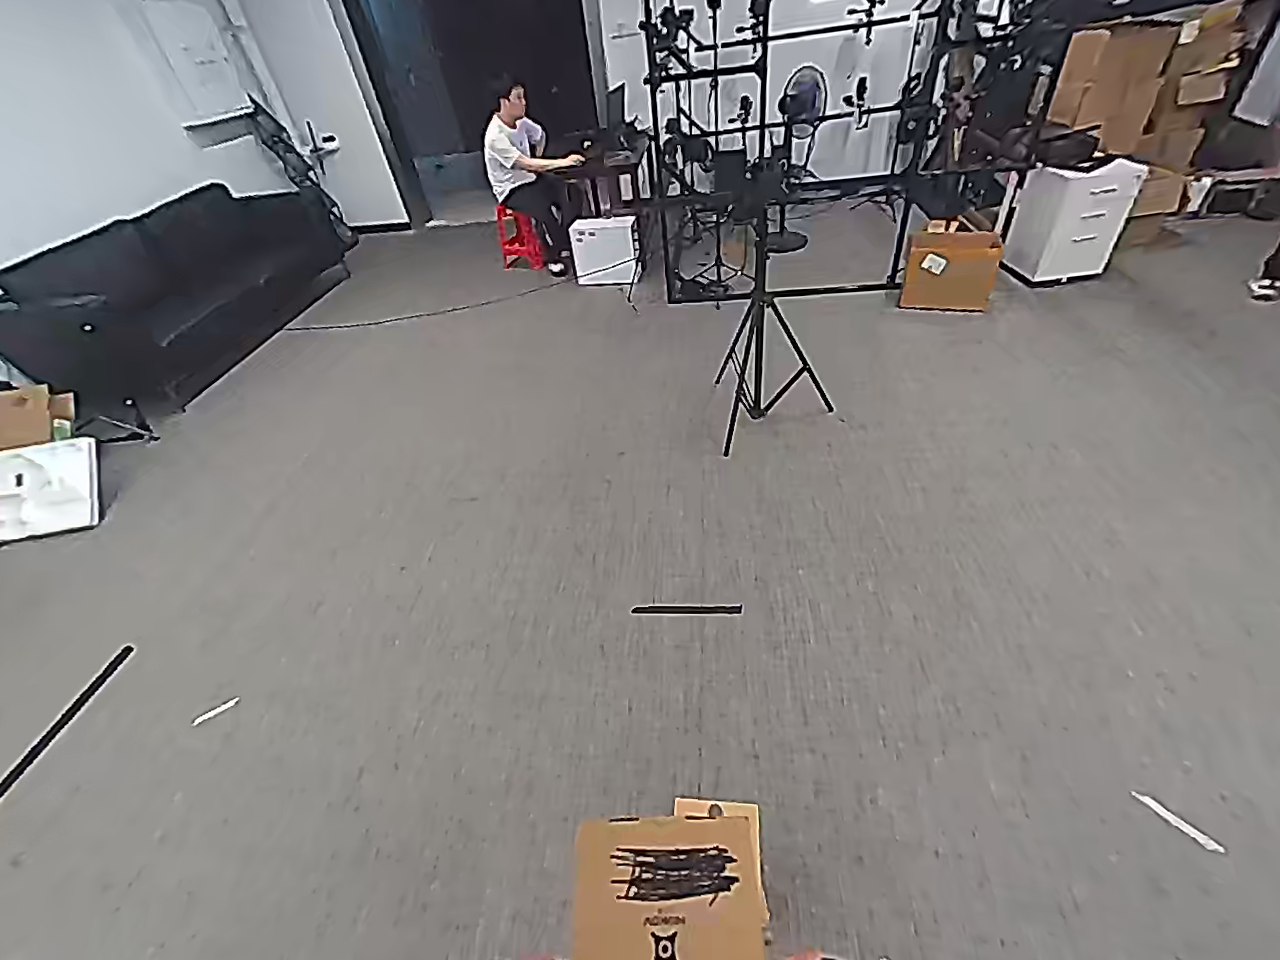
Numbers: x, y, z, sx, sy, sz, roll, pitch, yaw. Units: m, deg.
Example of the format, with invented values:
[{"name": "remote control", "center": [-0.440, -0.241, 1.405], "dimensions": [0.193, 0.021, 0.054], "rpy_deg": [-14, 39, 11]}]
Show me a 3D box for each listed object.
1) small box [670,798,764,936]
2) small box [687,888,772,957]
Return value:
[{"name": "small box", "center": [0.151, 0.752, 1.053], "dimensions": [0.168, 0.176, 0.179], "rpy_deg": [0, 41, 9]}, {"name": "small box", "center": [0.174, 0.879, 1.153], "dimensions": [0.168, 0.176, 0.179], "rpy_deg": [-9, 41, 0]}]
